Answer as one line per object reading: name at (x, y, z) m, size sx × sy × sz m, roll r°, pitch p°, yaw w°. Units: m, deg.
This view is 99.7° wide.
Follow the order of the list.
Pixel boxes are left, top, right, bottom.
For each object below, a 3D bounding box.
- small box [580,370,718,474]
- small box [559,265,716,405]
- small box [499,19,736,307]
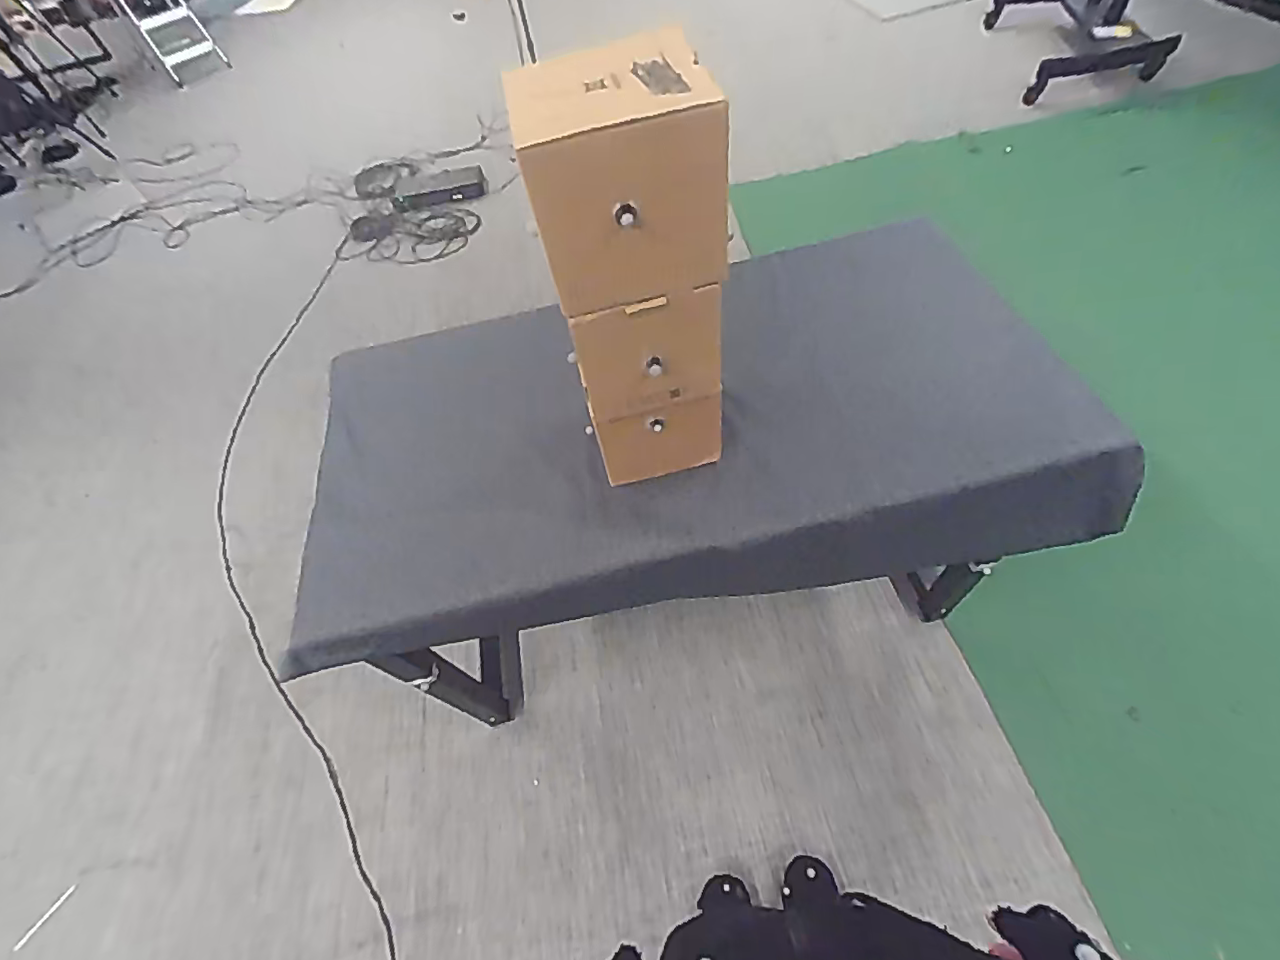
small box at (0.011, -0.129, 0.803) m, size 0.179 × 0.176 × 0.168 m, roll -13°, pitch 57°, yaw -2°
small box at (-0.007, -0.212, 0.664) m, size 0.168 × 0.176 × 0.179 m, roll -14°, pitch 57°, yaw -1°
small box at (-0.020, -0.299, 0.524) m, size 0.179 × 0.176 × 0.168 m, roll -15°, pitch 57°, yaw -3°
